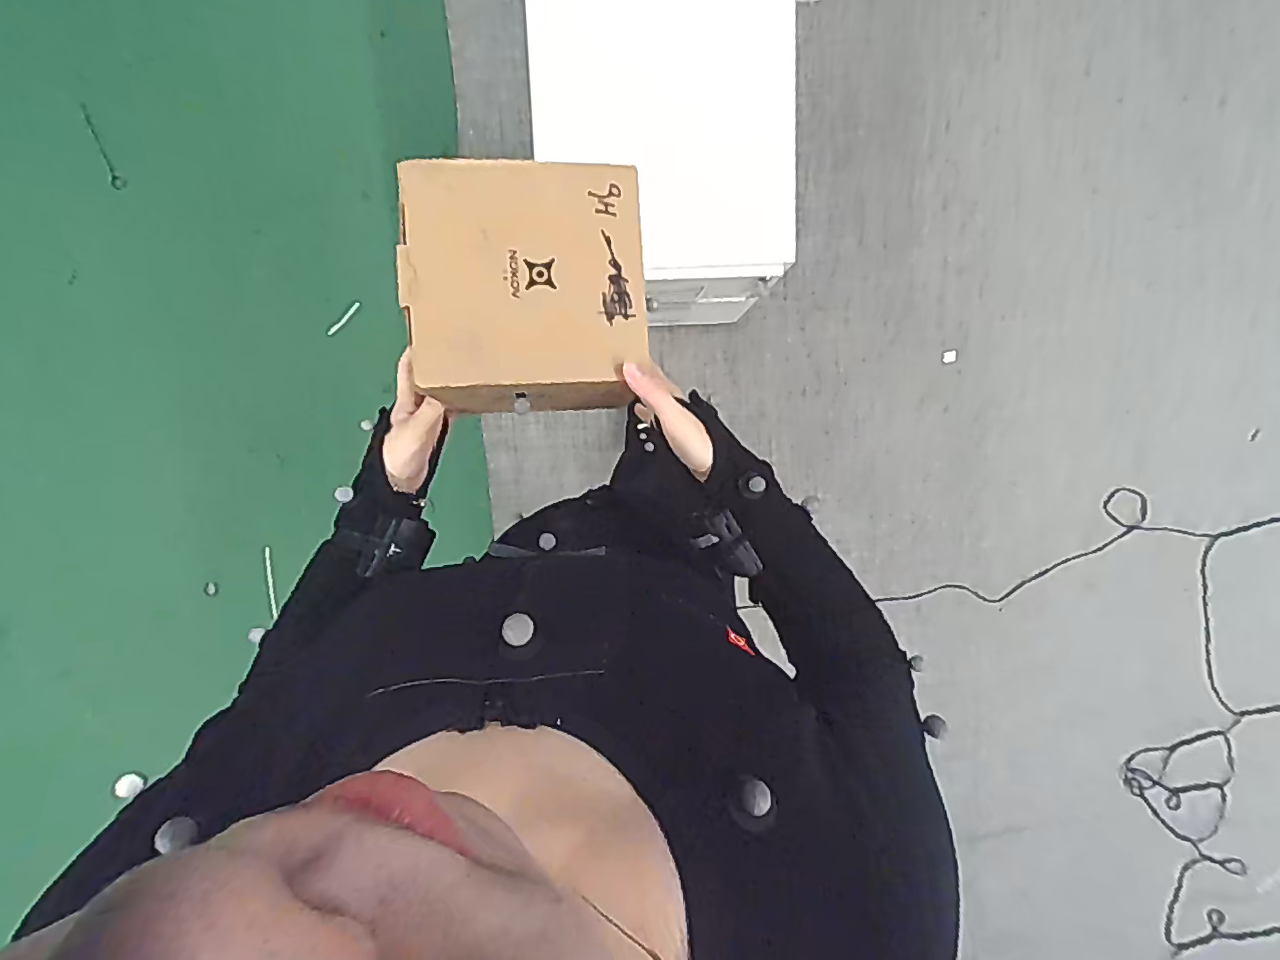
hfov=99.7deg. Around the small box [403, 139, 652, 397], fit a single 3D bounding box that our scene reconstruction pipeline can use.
[{"bbox_3d":[-0.091,-0.168,0.479,0.179,0.176,0.168,-4,91,-8],"label":"small box"}]
